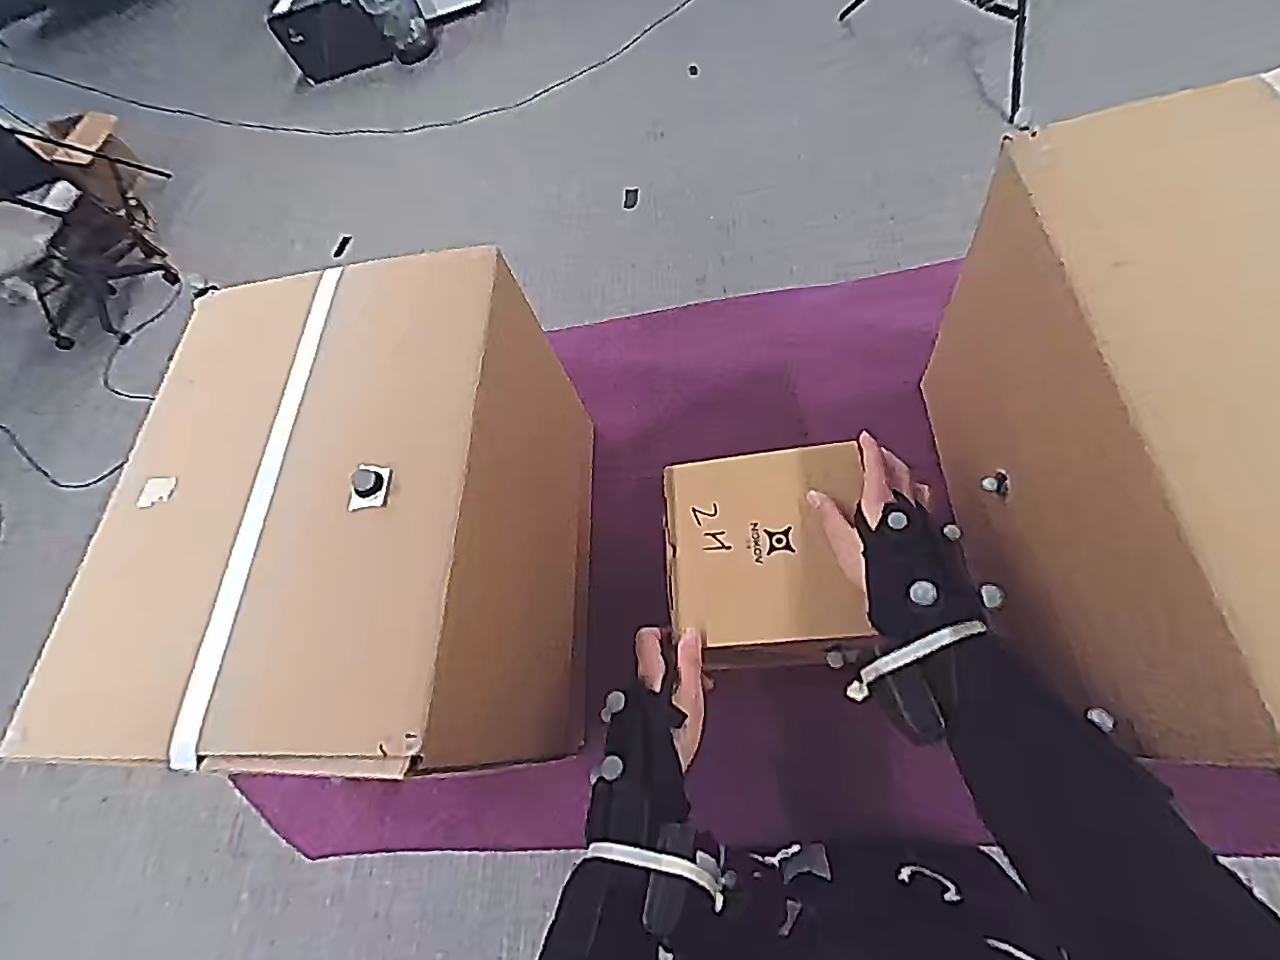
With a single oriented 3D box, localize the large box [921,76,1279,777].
[{"bbox_3d":[0.443,-0.016,0.397,0.320,0.320,0.408,-6,63,12],"label":"large box"}]
